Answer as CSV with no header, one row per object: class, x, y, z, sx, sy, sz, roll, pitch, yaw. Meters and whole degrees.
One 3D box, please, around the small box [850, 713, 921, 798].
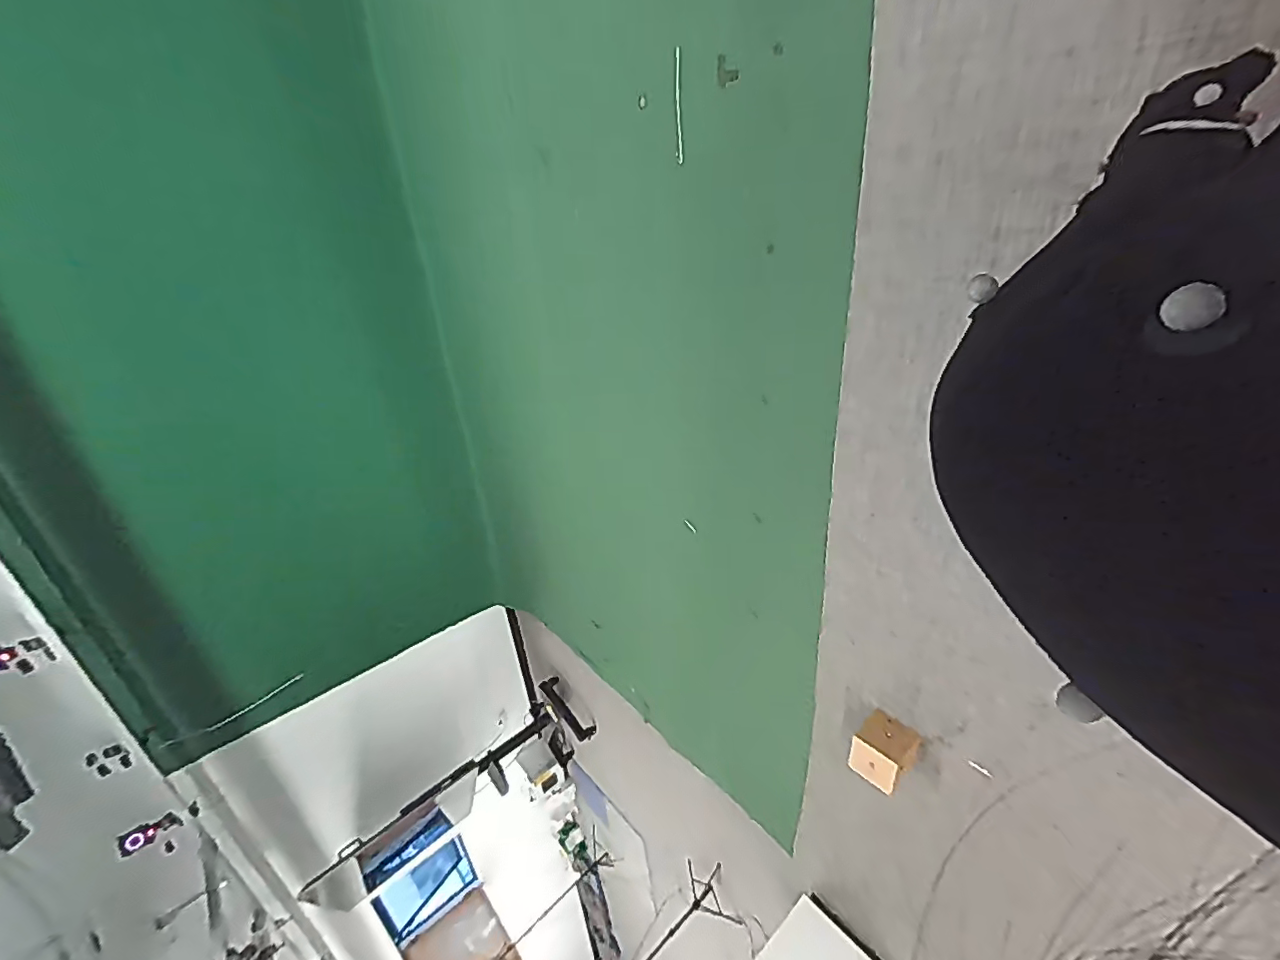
small box,0.885,0.984,1.948,0.168,0.176,0.179,26,130,45
